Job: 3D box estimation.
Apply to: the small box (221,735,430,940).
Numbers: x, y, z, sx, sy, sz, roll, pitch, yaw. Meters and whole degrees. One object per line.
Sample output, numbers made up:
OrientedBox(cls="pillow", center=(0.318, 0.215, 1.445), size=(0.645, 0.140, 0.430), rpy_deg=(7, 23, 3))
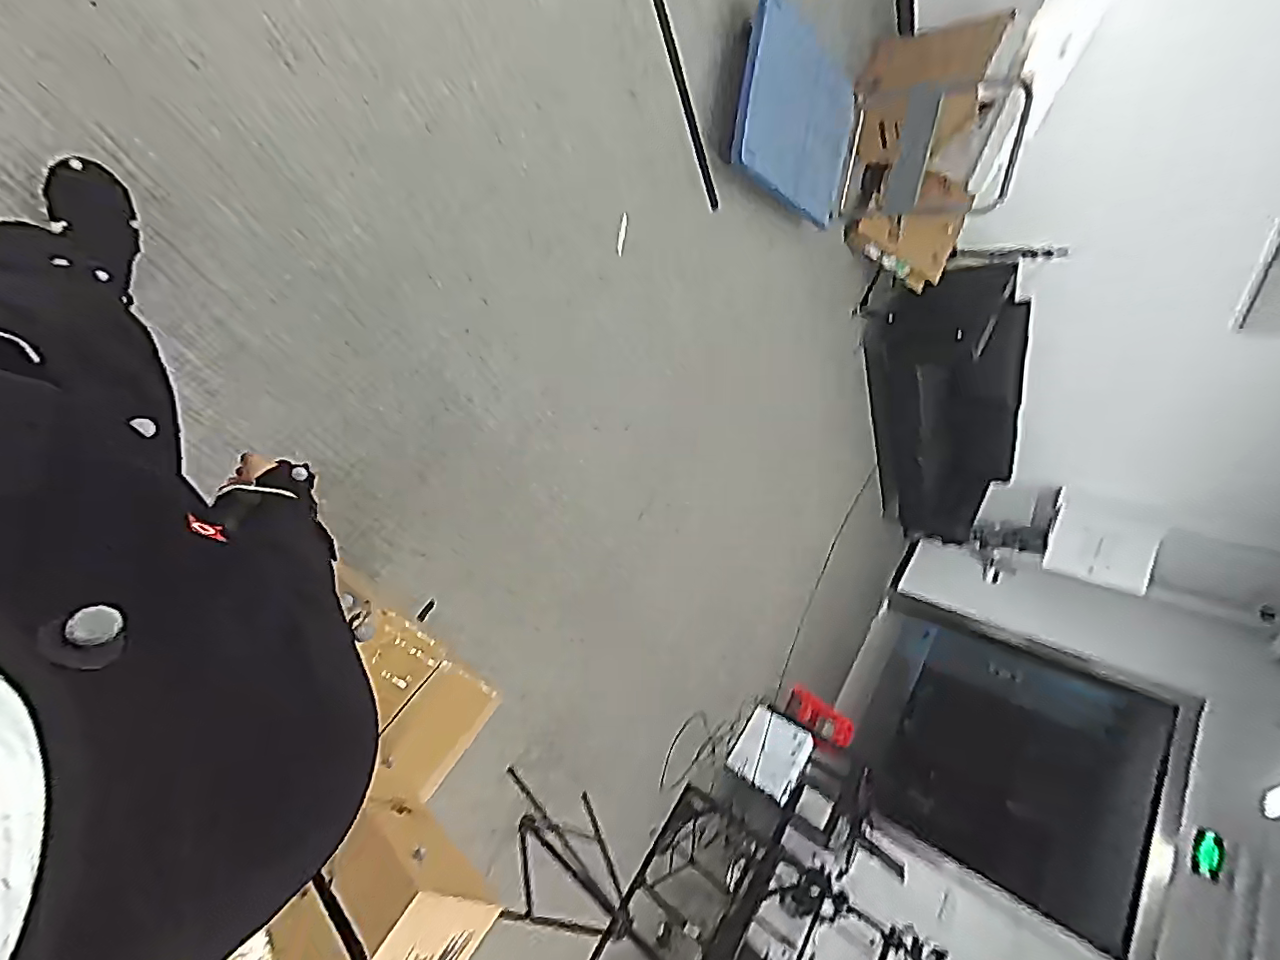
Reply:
OrientedBox(cls="small box", center=(-0.453, 0.507, 0.781), size=(0.179, 0.176, 0.168), rpy_deg=(-51, 137, -23))
